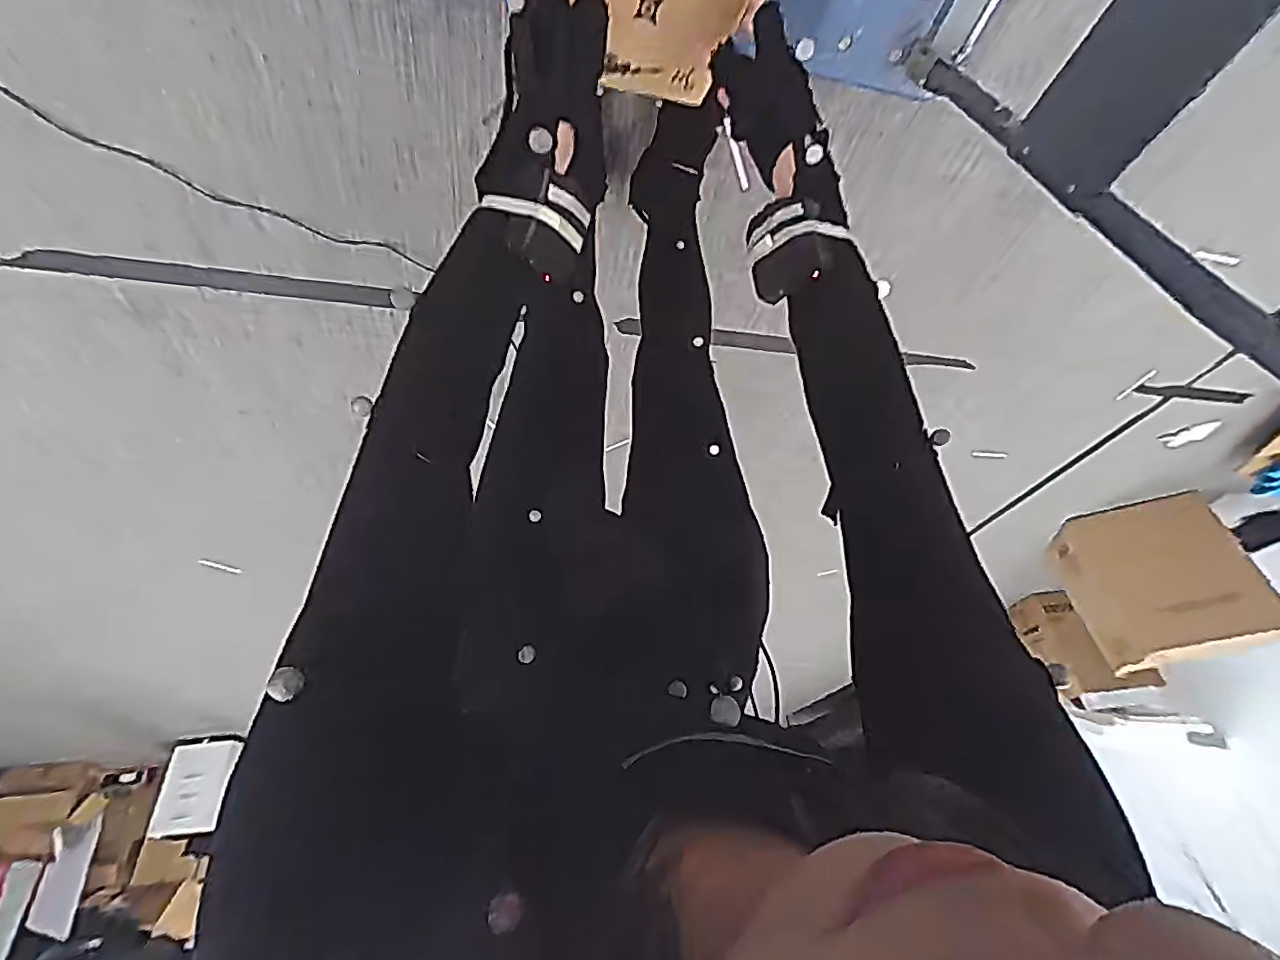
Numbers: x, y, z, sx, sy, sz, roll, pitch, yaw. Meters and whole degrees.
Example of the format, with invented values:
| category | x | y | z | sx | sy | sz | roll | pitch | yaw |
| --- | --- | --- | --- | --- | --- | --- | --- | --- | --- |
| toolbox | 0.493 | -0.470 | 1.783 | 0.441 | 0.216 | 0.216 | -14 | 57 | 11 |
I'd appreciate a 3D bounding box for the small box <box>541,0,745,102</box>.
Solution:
| category | x | y | z | sx | sy | sz | roll | pitch | yaw |
| --- | --- | --- | --- | --- | --- | --- | --- | --- | --- |
| small box | 0.002 | -0.491 | 0.476 | 0.168 | 0.176 | 0.179 | 0 | 166 | -18 |
